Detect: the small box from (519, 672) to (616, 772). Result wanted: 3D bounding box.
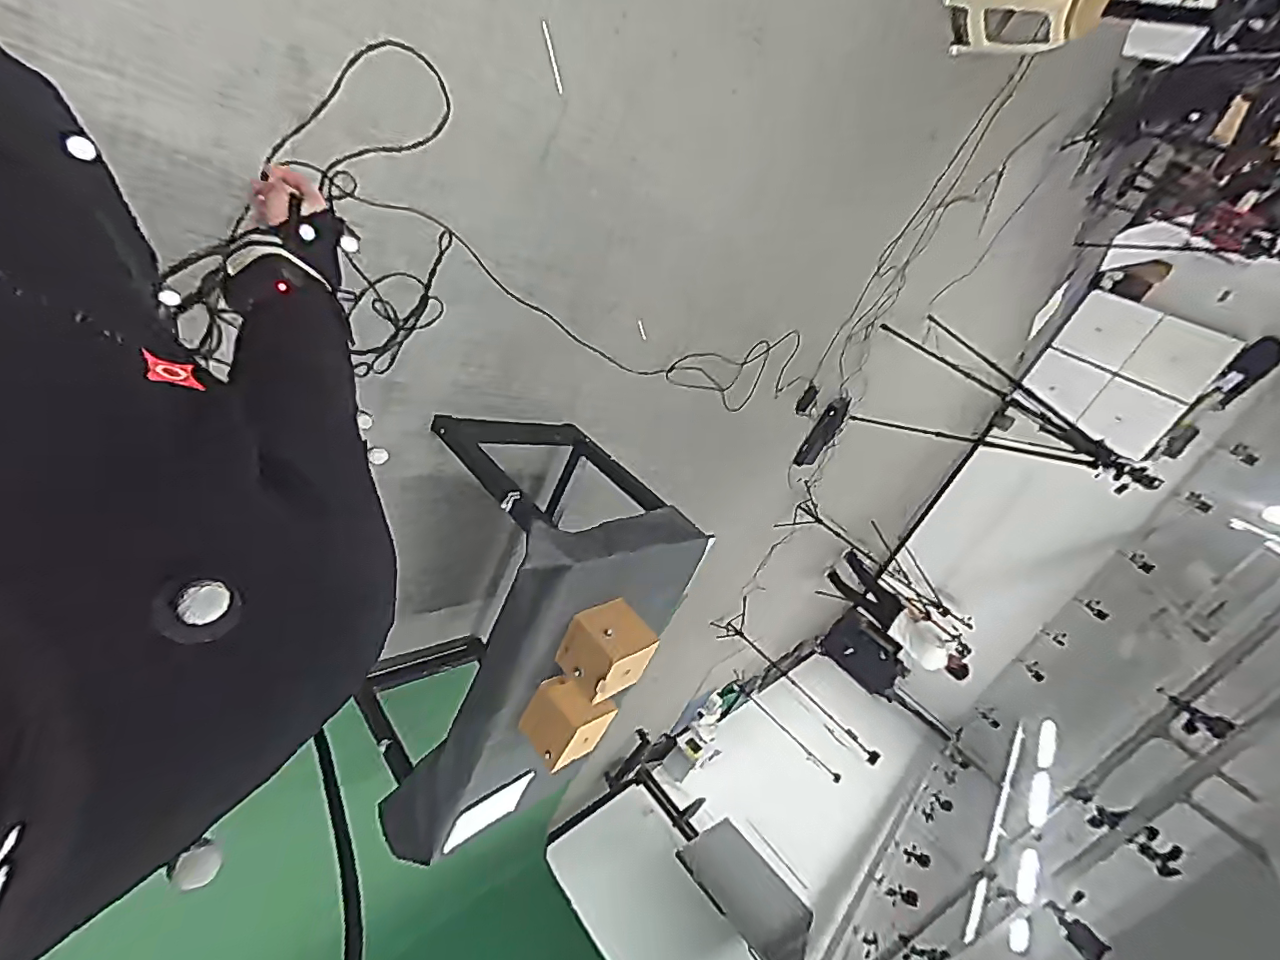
[{"bbox_3d":[-0.206,0.653,1.495,0.168,0.176,0.179,3,122,-54],"label":"small box"}]

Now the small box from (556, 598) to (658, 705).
[{"bbox_3d":[-0.091,0.438,1.406,0.179,0.176,0.168,-9,132,-49],"label":"small box"}]
